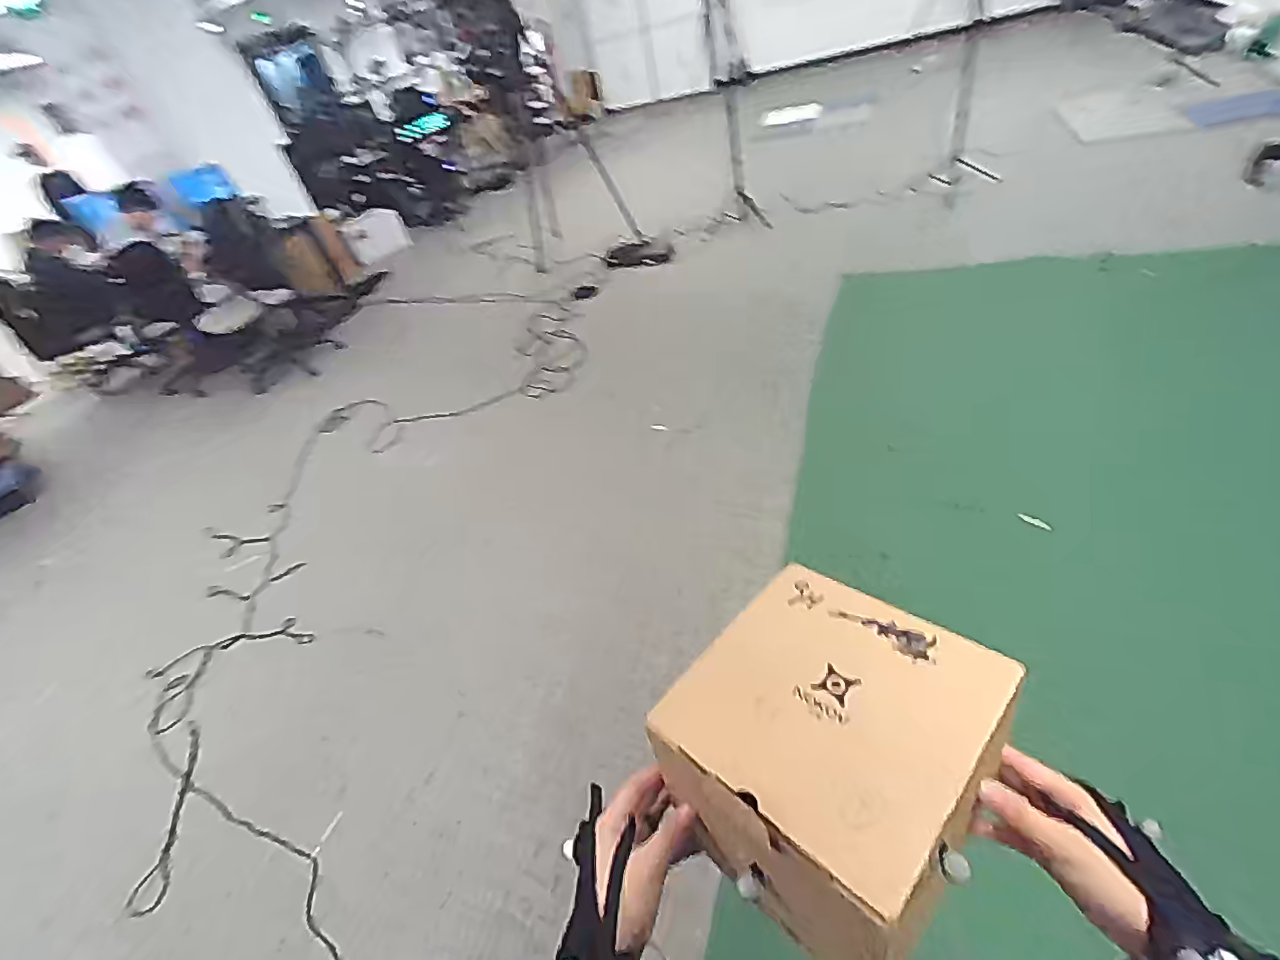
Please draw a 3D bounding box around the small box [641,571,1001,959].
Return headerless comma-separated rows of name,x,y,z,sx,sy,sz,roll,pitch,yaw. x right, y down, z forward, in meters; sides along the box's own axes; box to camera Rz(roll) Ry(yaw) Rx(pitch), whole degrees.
small box,0.131,0.206,0.394,0.179,0.176,0.168,-37,39,-30
